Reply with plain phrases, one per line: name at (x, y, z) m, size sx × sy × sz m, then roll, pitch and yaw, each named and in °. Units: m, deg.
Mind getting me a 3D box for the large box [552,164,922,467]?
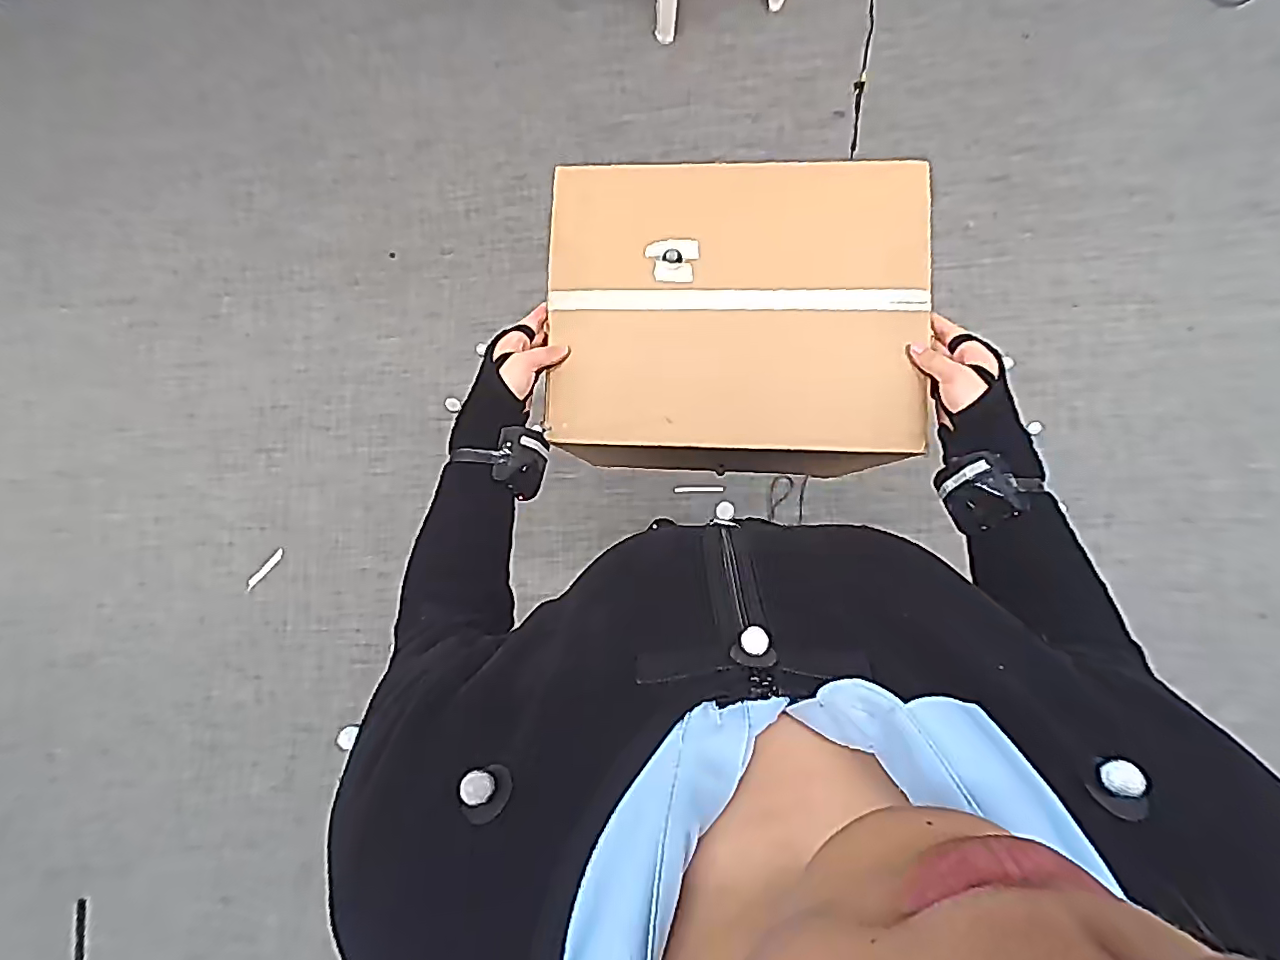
large box at (0.116, -0.181, 0.740) m, size 0.408 × 0.320 × 0.320 m, roll 1°, pitch 85°, yaw 6°
